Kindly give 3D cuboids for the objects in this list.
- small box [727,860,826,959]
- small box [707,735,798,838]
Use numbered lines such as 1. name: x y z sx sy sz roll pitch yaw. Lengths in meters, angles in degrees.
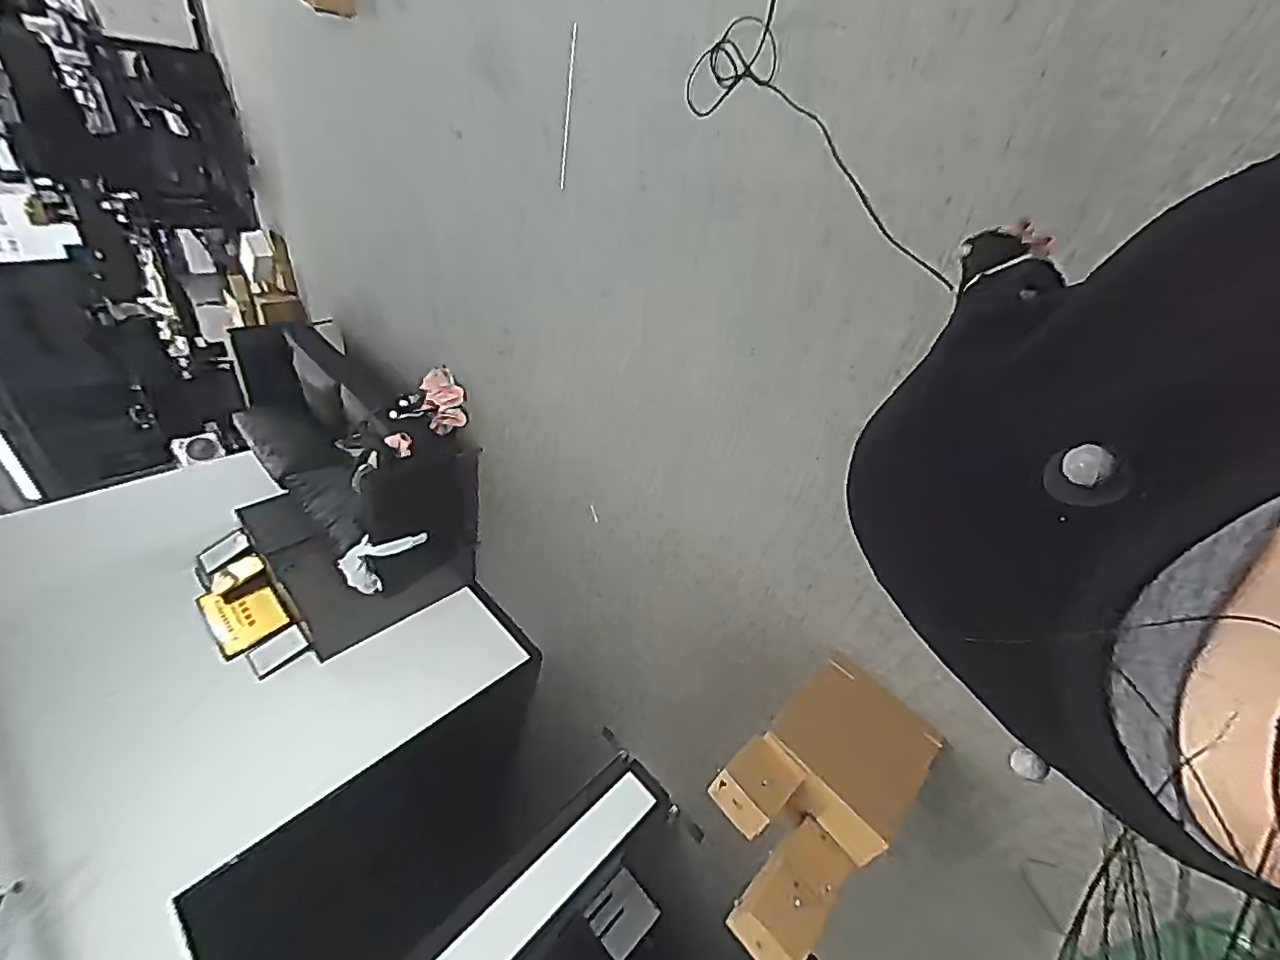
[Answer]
1. small box: 0.372 1.184 1.466 0.168 0.176 0.179 42 135 23
2. small box: 0.338 0.906 1.611 0.179 0.176 0.168 41 132 25
